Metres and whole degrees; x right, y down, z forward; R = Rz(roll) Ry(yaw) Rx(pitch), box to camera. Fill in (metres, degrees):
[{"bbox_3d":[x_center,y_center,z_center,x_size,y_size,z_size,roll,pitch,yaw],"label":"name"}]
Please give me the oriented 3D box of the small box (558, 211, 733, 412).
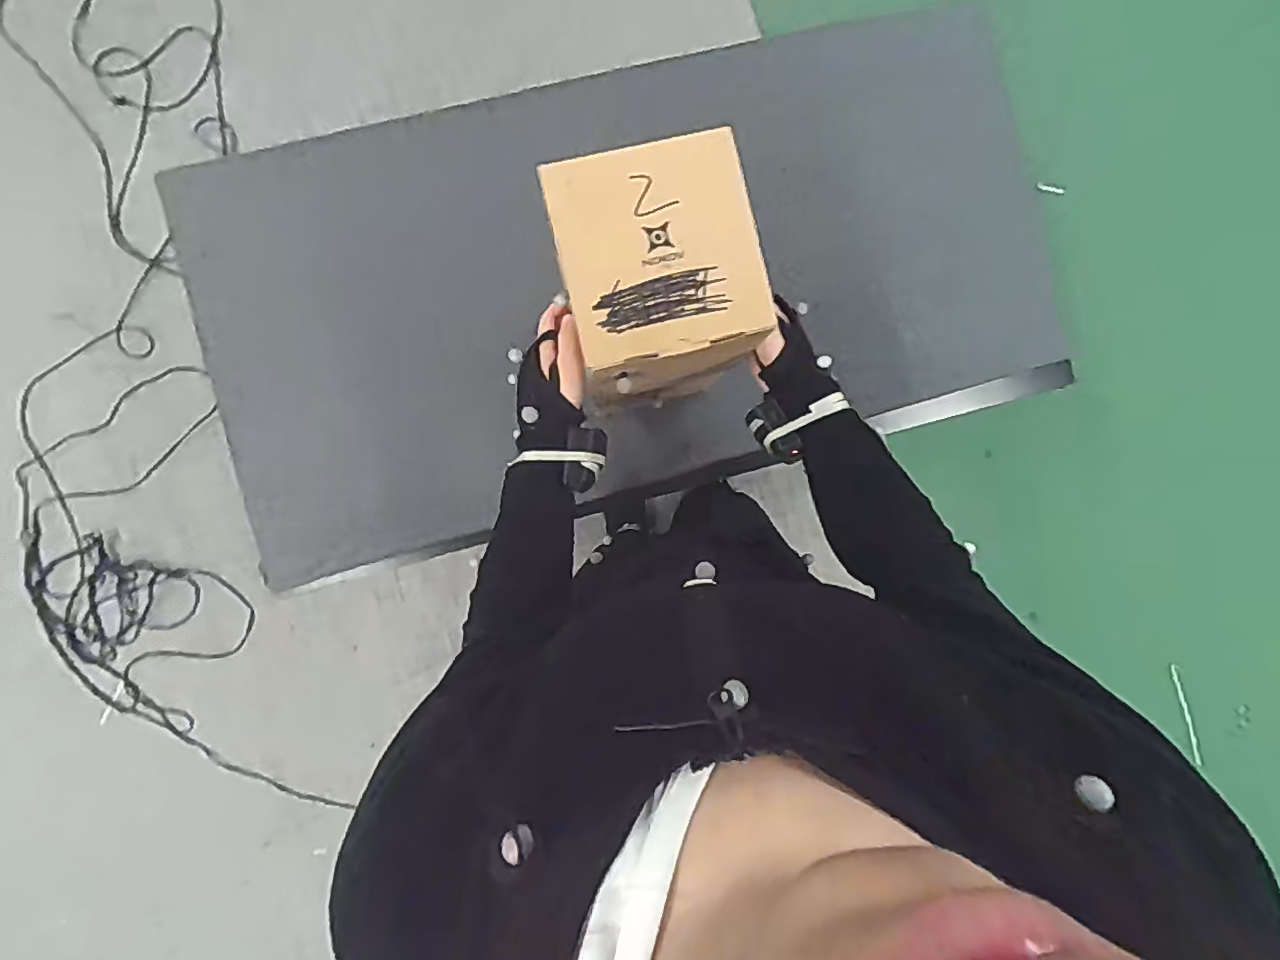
[{"bbox_3d":[0.000,-0.197,0.676,0.168,0.176,0.179,-14,90,-3],"label":"small box"}]
